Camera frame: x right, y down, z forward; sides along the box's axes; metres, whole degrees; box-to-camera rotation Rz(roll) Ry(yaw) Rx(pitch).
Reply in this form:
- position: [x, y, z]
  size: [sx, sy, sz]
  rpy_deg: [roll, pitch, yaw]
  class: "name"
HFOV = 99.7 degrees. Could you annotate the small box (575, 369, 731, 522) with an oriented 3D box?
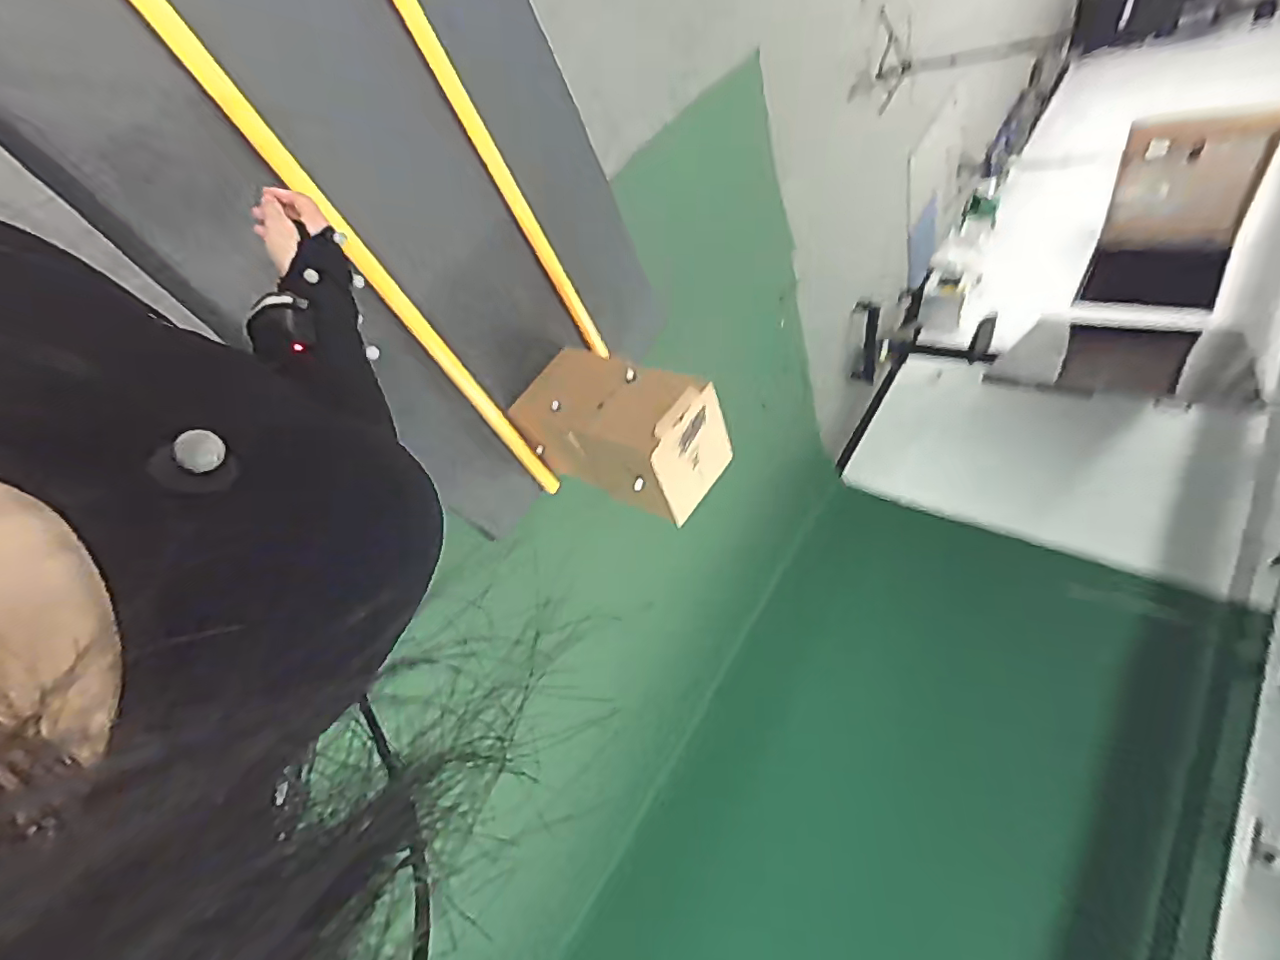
- position: [0.023, -0.065, 0.887]
  size: [0.168, 0.176, 0.179]
  rpy_deg: [-50, 140, -23]
  class: "small box"
